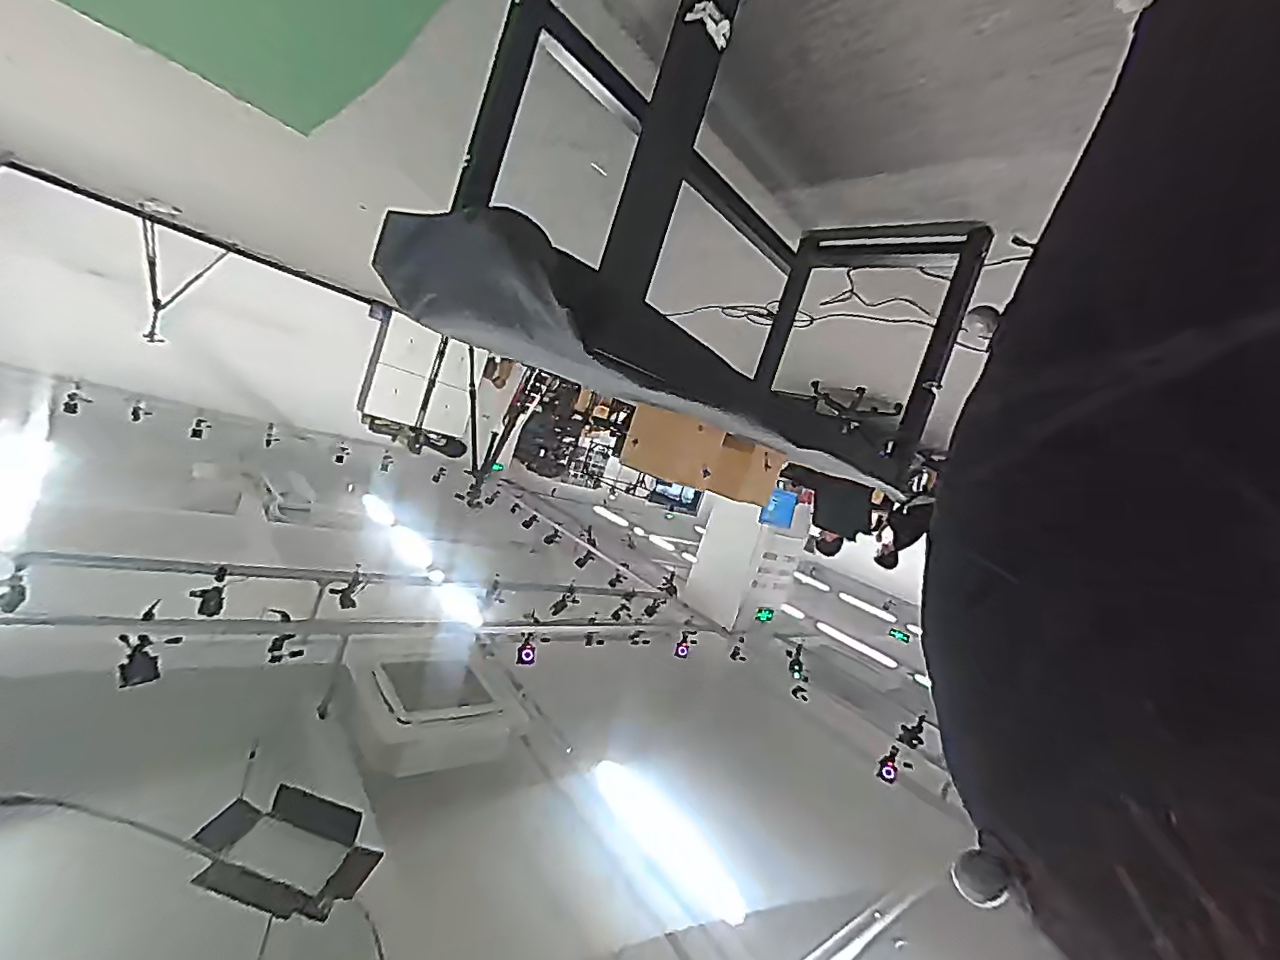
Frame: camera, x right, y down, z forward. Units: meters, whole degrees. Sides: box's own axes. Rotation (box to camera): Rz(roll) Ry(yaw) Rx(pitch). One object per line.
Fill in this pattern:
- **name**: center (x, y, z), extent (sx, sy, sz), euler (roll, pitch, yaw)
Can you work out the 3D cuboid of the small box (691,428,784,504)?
- **small box**: center (0.283, -0.044, 1.556), extent (0.168, 0.176, 0.179), euler (13, -174, -45)
